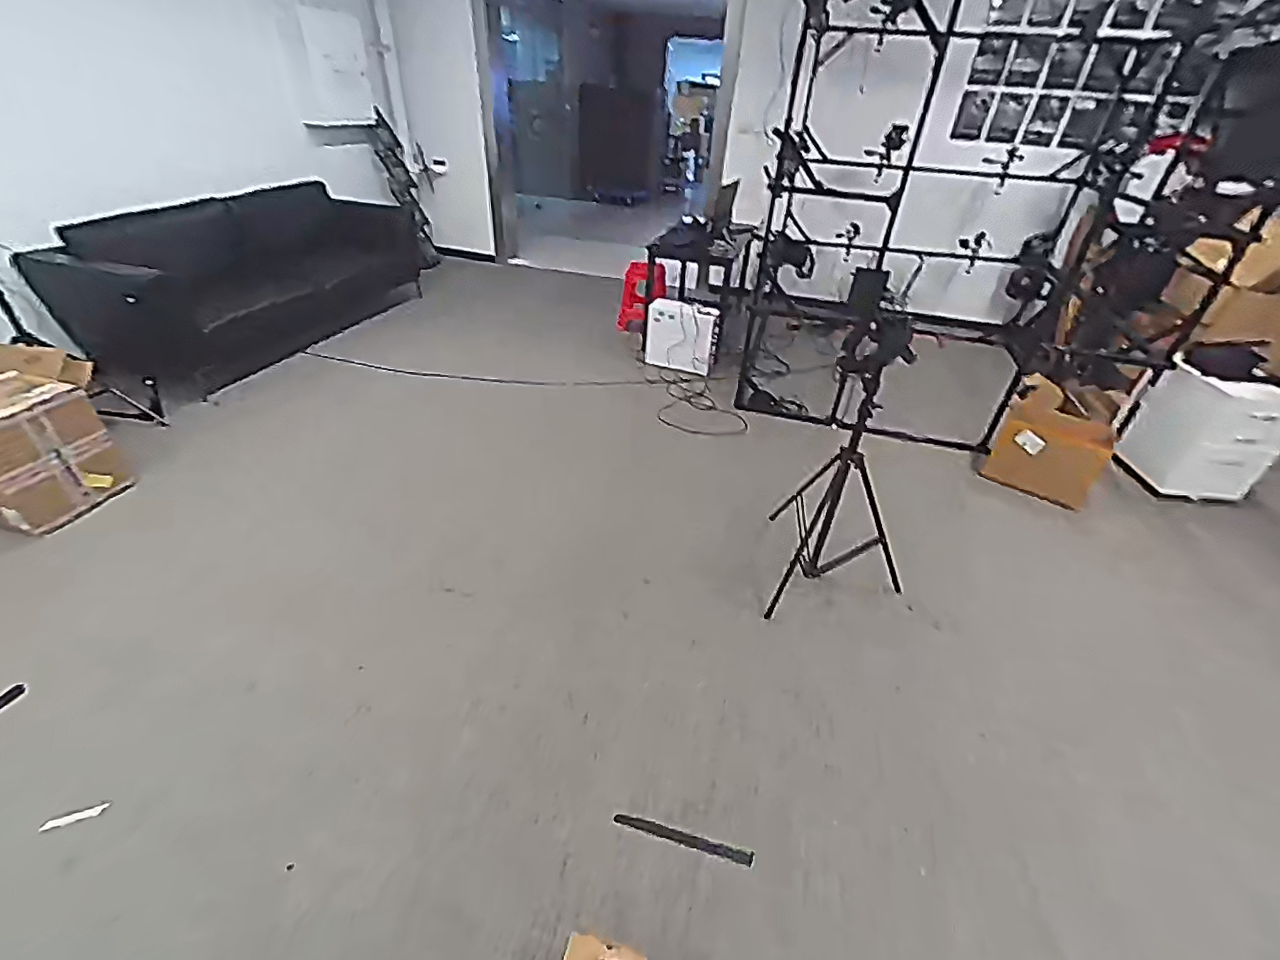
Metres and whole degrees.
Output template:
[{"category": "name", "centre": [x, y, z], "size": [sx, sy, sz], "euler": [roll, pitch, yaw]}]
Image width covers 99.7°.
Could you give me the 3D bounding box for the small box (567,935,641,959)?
[{"category": "small box", "centre": [-0.084, 1.048, 1.056], "size": [0.168, 0.176, 0.179], "euler": [11, 37, 11]}]
